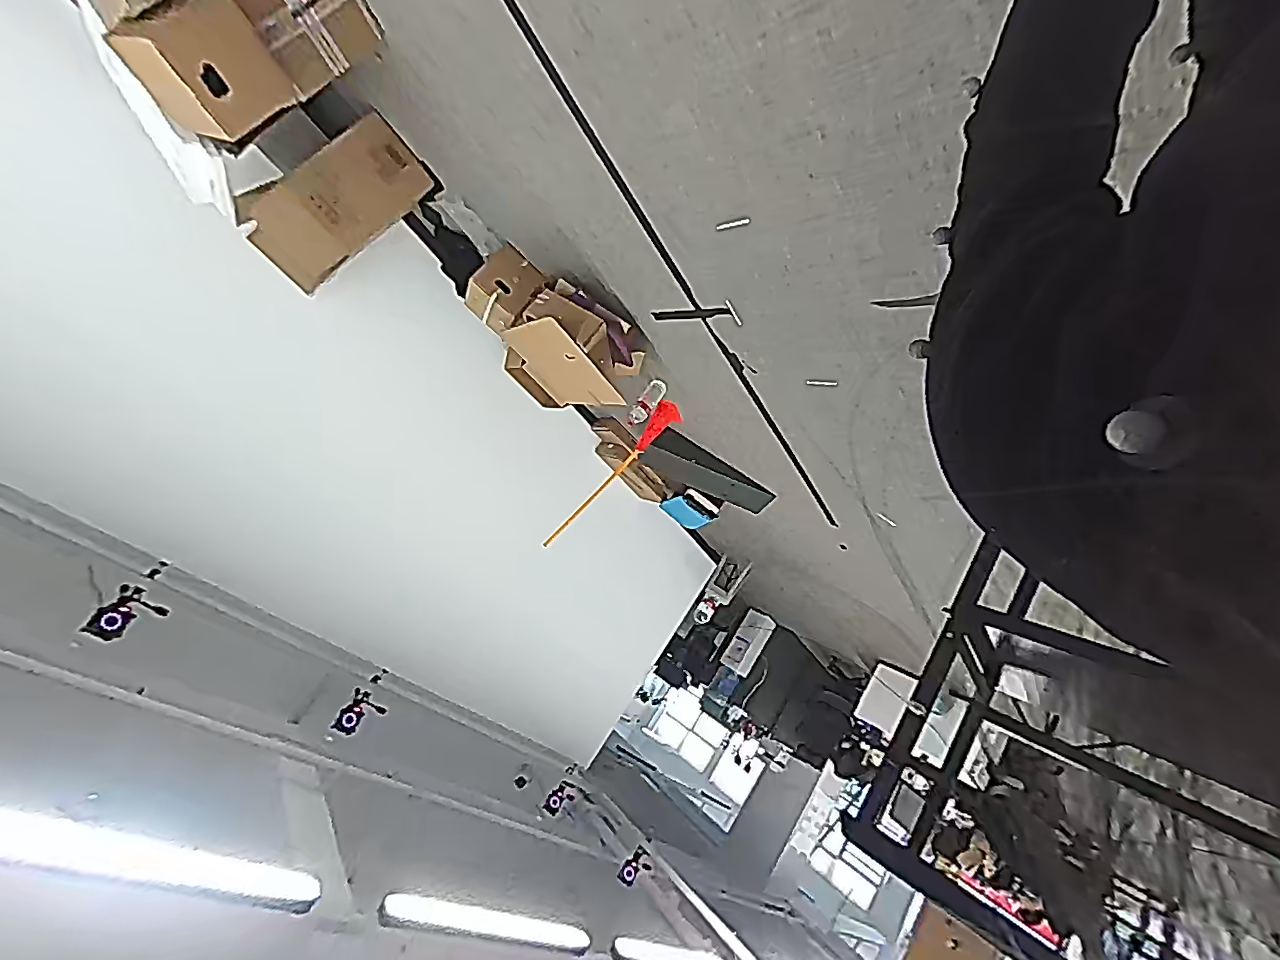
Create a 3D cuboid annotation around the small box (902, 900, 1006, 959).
[{"bbox_3d":[0.786,1.196,1.348,0.168,0.176,0.179,16,155,48],"label":"small box"}]
